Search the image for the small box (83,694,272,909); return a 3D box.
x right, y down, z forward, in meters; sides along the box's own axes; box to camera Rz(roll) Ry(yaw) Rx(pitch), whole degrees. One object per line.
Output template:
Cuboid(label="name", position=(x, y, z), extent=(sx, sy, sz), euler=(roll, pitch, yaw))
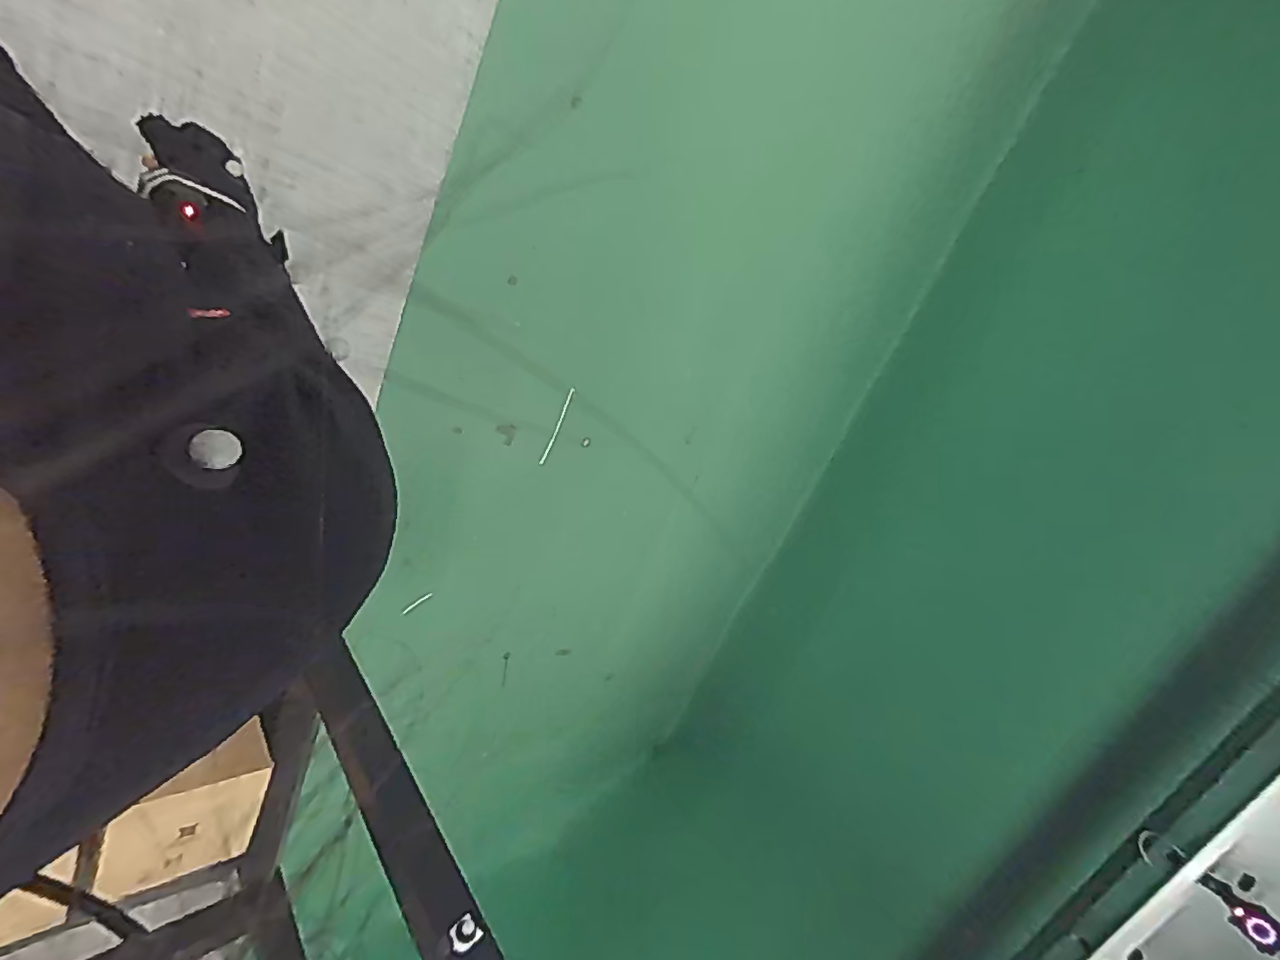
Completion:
Cuboid(label="small box", position=(-0.646, 0.423, 0.752), extent=(0.168, 0.176, 0.179), euler=(8, 114, -49))
